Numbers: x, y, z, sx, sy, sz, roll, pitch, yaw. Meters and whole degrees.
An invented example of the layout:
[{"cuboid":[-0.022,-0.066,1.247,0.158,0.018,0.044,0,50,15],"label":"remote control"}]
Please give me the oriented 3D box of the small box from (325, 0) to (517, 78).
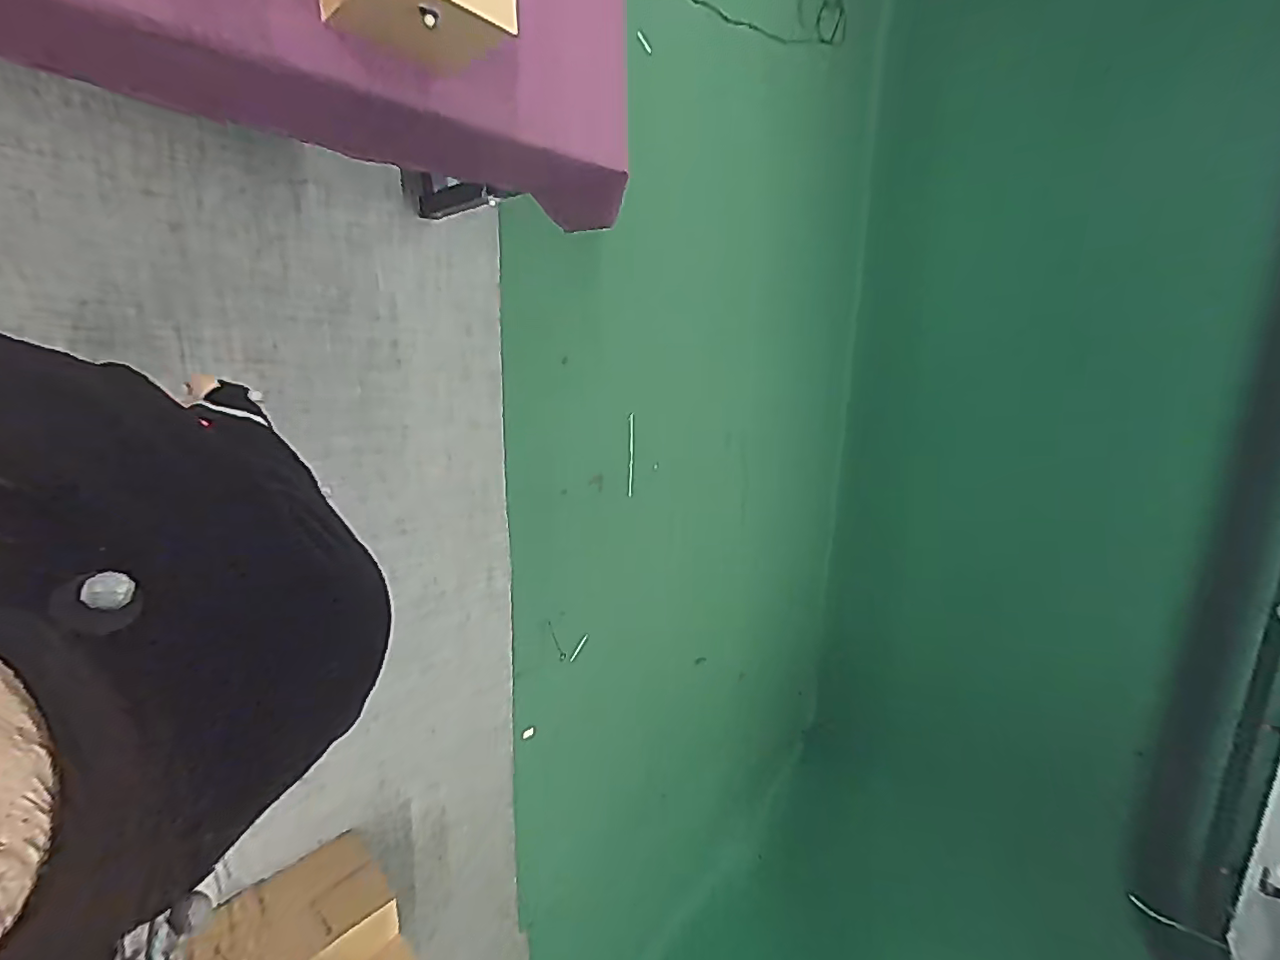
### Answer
[{"cuboid":[-0.276,-0.639,0.668,0.179,0.176,0.168,-15,110,-48],"label":"small box"}]
